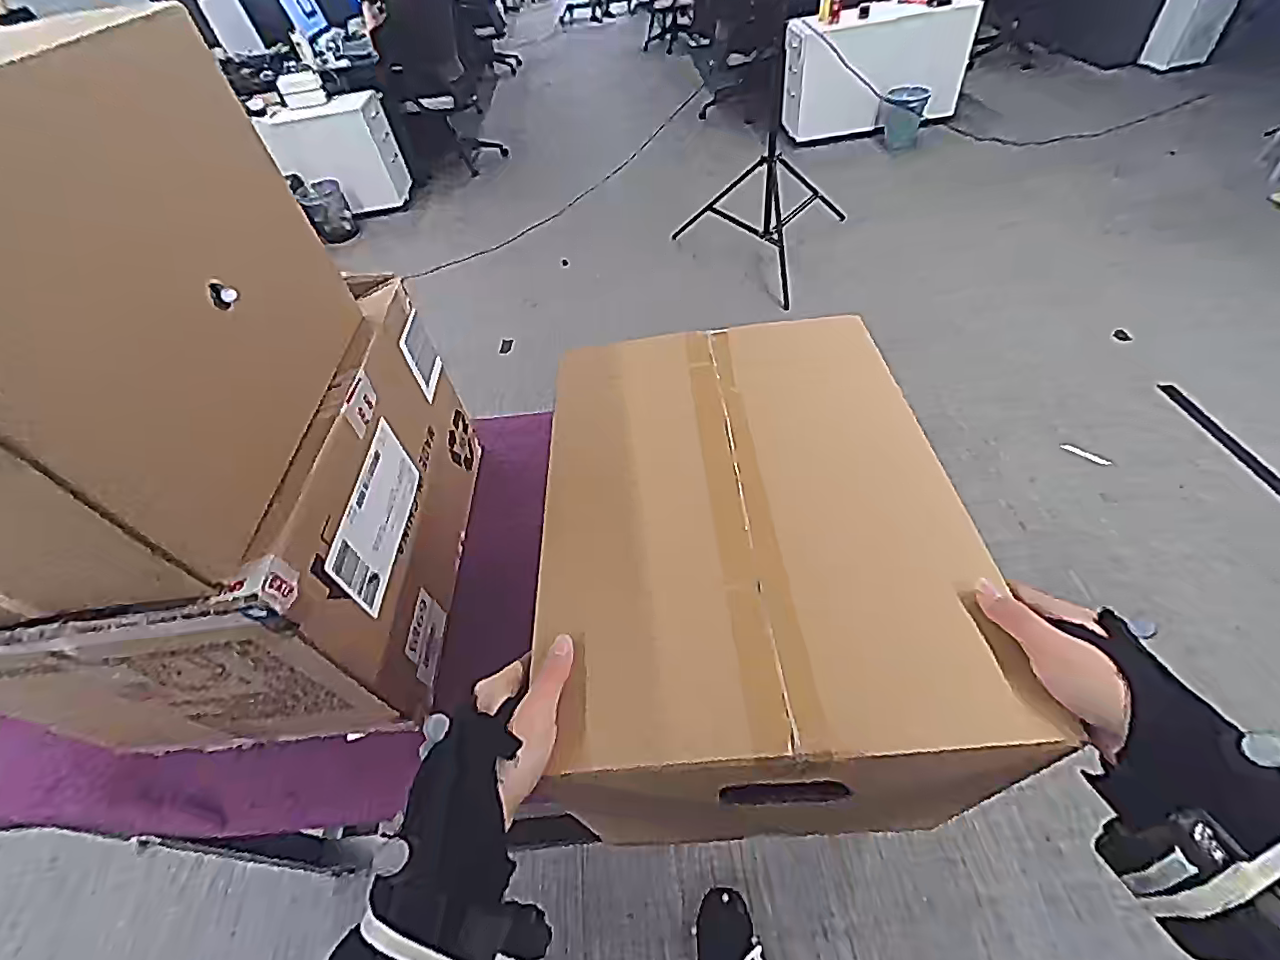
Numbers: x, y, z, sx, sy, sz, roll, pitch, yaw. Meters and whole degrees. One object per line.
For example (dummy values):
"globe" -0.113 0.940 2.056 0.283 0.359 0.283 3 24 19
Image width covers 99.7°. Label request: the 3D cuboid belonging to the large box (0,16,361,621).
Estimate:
"large box" -0.500 -0.138 0.461 0.320 0.320 0.408 -9 49 3
